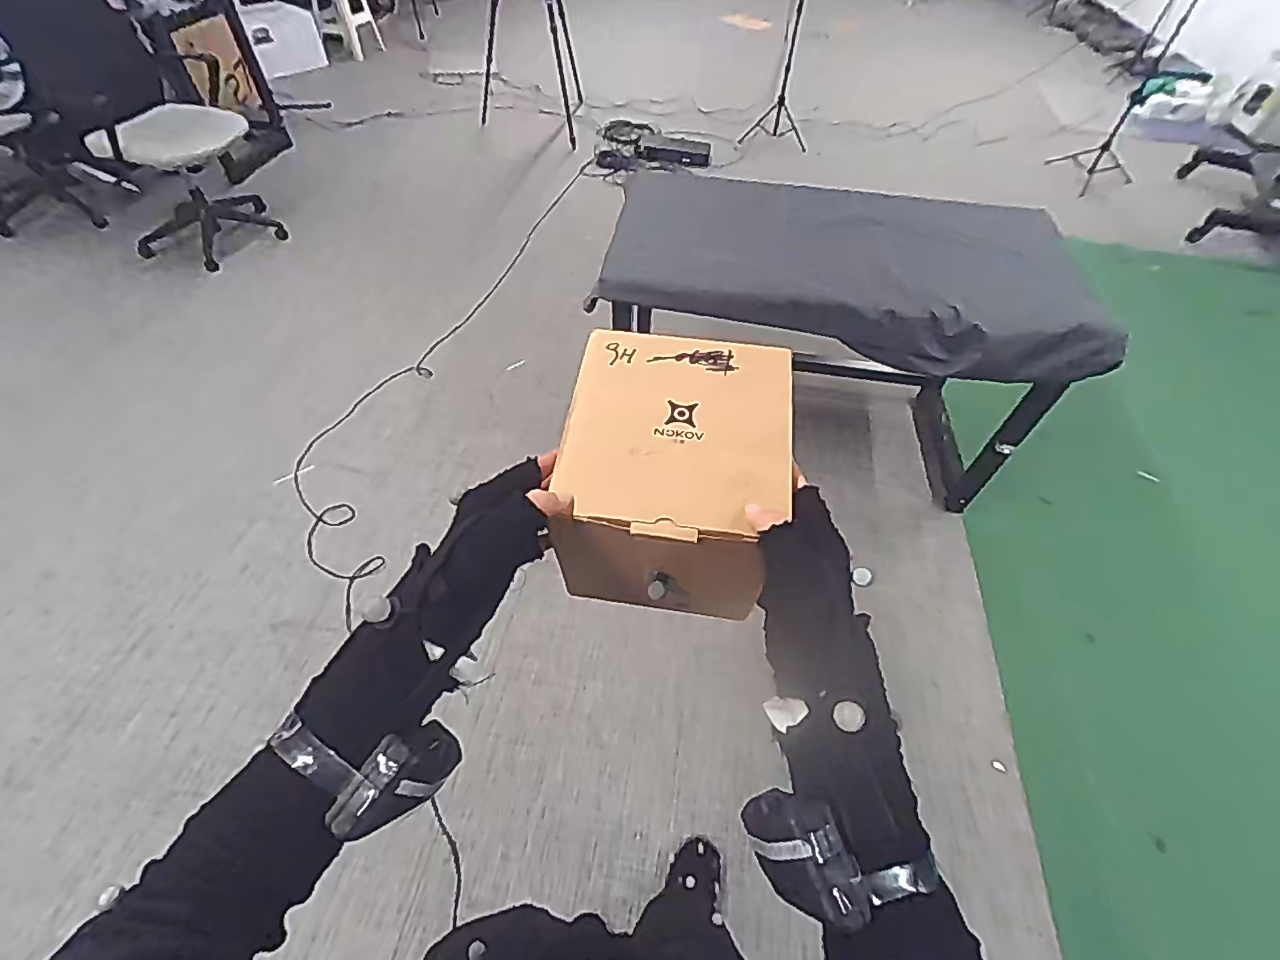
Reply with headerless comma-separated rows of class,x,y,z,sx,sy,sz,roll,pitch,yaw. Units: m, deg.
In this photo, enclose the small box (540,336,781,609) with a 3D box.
small box,0.025,0.001,0.475,0.168,0.176,0.179,6,60,5
